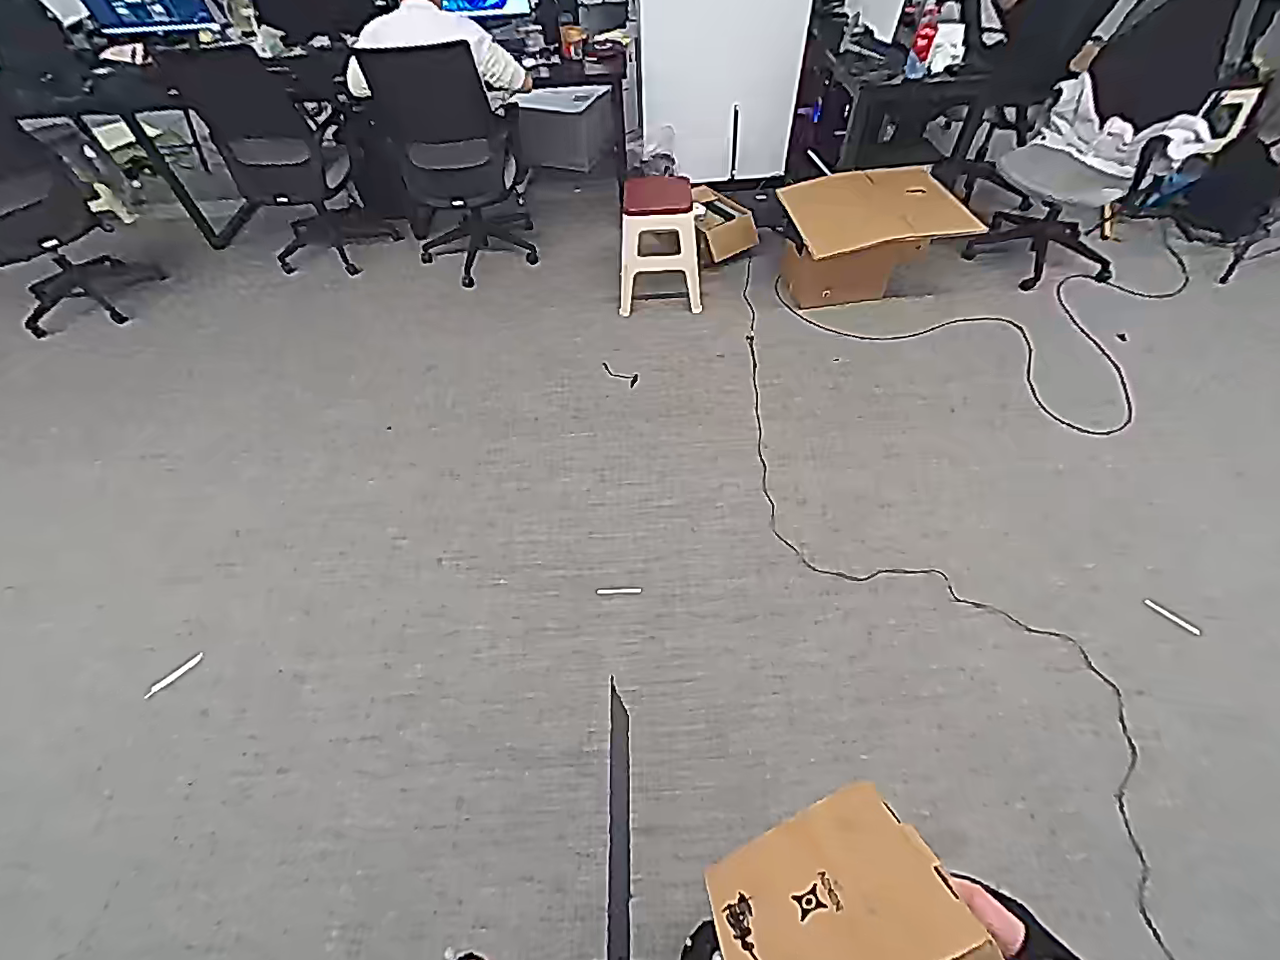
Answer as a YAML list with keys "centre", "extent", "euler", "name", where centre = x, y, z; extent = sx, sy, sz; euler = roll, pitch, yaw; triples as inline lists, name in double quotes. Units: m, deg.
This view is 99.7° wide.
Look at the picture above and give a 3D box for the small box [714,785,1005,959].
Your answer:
- centre: [0.187, 0.404, 0.437]
  extent: [0.179, 0.168, 0.176]
  euler: [-28, 94, -2]
  name: "small box"
